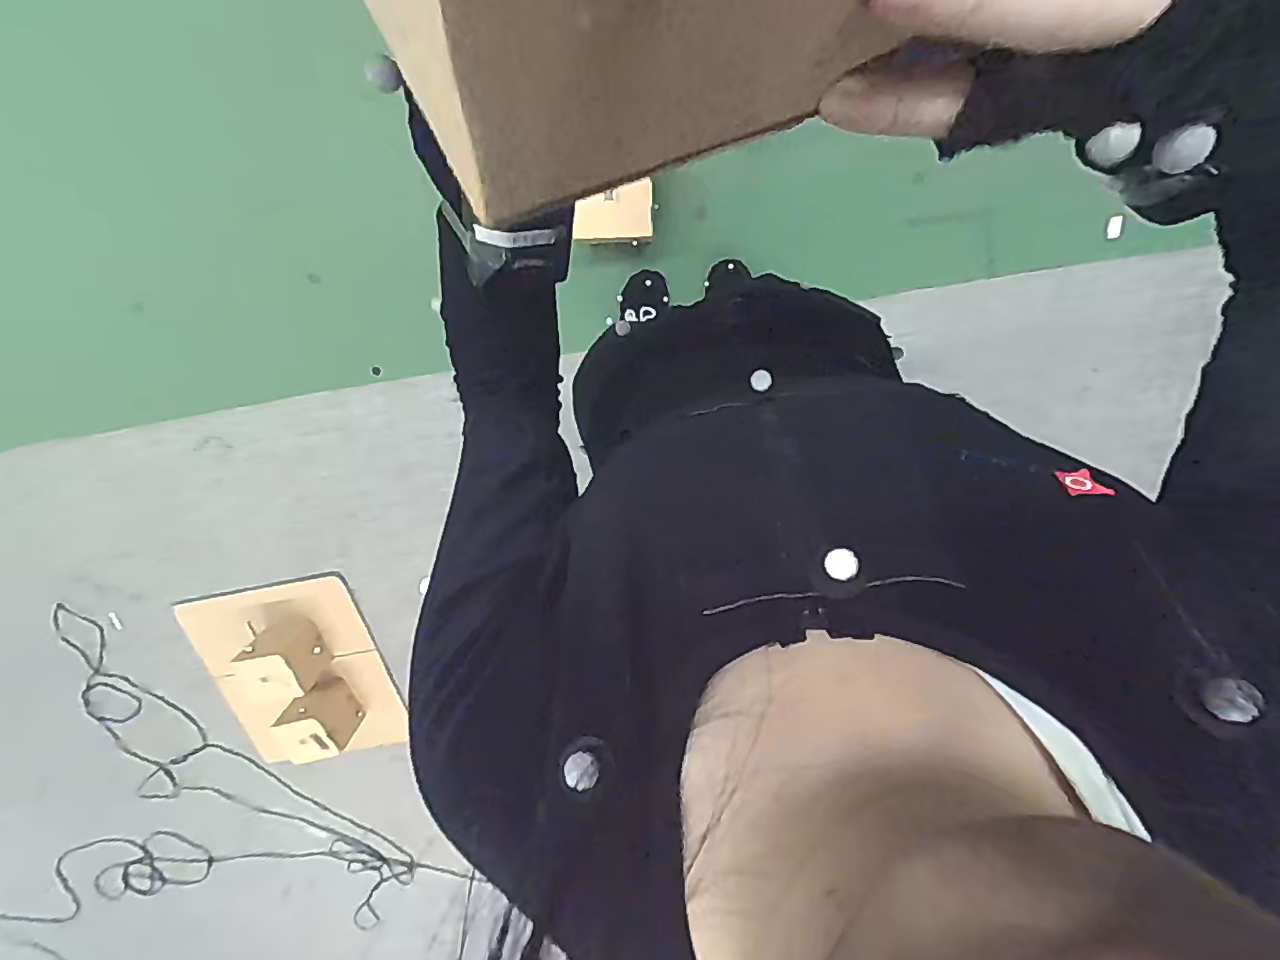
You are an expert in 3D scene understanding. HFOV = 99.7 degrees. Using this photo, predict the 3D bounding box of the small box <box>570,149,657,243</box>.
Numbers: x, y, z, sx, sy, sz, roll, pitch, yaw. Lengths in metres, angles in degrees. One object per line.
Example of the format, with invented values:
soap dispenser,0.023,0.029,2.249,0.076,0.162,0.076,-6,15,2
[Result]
small box,-0.053,-0.630,1.217,0.179,0.176,0.168,-1,111,3

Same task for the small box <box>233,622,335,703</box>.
small box,-1.115,0.573,1.709,0.179,0.176,0.168,-11,111,6

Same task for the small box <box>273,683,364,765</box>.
small box,-1.050,0.802,1.791,0.179,0.176,0.168,-16,110,9
